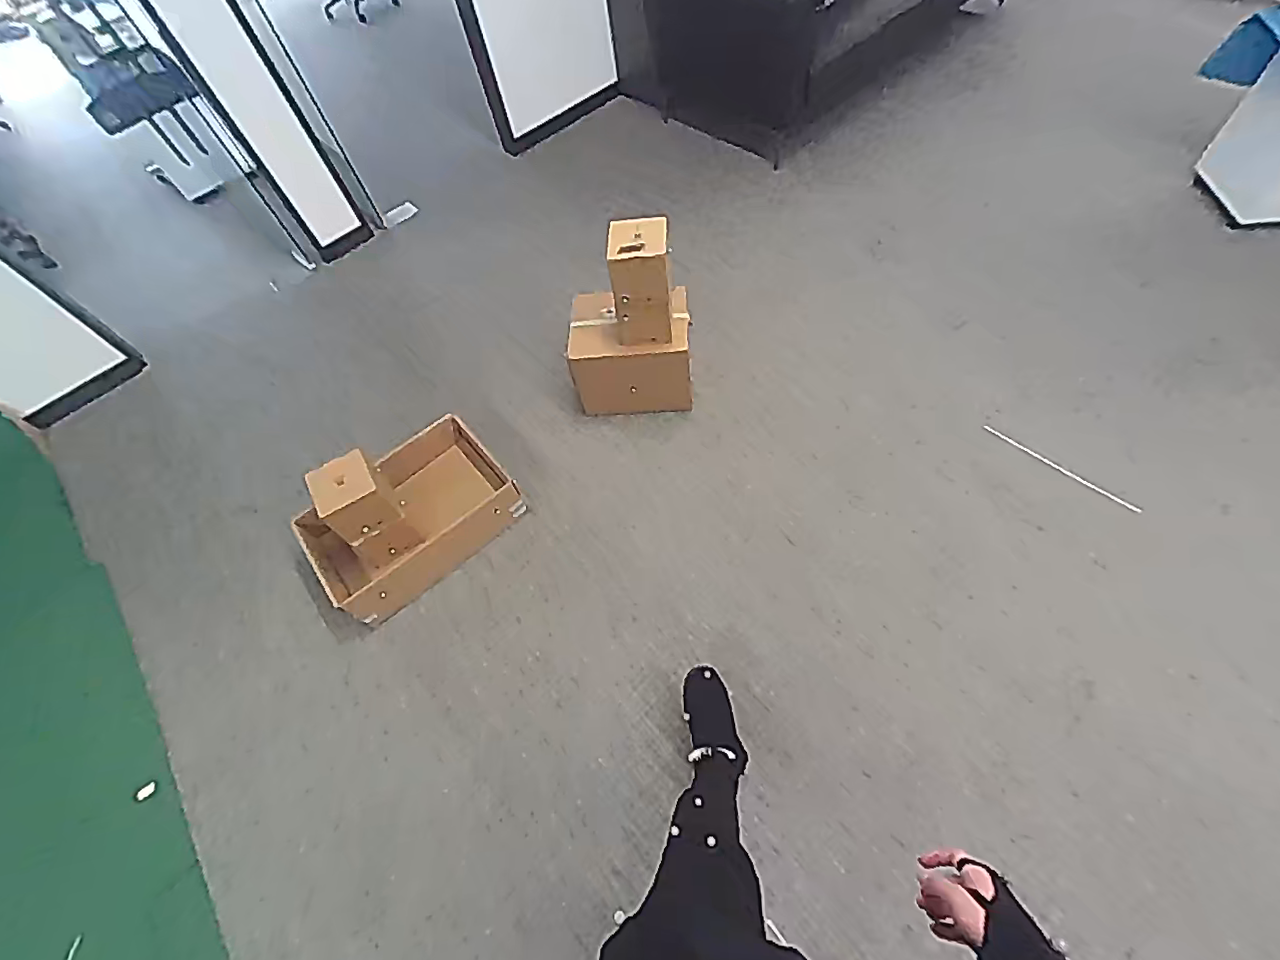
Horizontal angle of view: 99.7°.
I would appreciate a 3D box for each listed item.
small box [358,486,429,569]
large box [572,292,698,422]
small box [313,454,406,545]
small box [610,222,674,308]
[{"bbox_3d":[-0.810,0.154,1.734,0.168,0.176,0.179,-34,61,-16],"label":"small box"},{"bbox_3d":[-0.006,-0.436,1.962,0.408,0.320,0.320,-4,57,8],"label":"large box"},{"bbox_3d":[-0.827,0.061,1.601,0.168,0.176,0.179,-31,60,-14],"label":"small box"},{"bbox_3d":[0.013,-0.624,1.589,0.168,0.176,0.179,-2,58,7],"label":"small box"}]
